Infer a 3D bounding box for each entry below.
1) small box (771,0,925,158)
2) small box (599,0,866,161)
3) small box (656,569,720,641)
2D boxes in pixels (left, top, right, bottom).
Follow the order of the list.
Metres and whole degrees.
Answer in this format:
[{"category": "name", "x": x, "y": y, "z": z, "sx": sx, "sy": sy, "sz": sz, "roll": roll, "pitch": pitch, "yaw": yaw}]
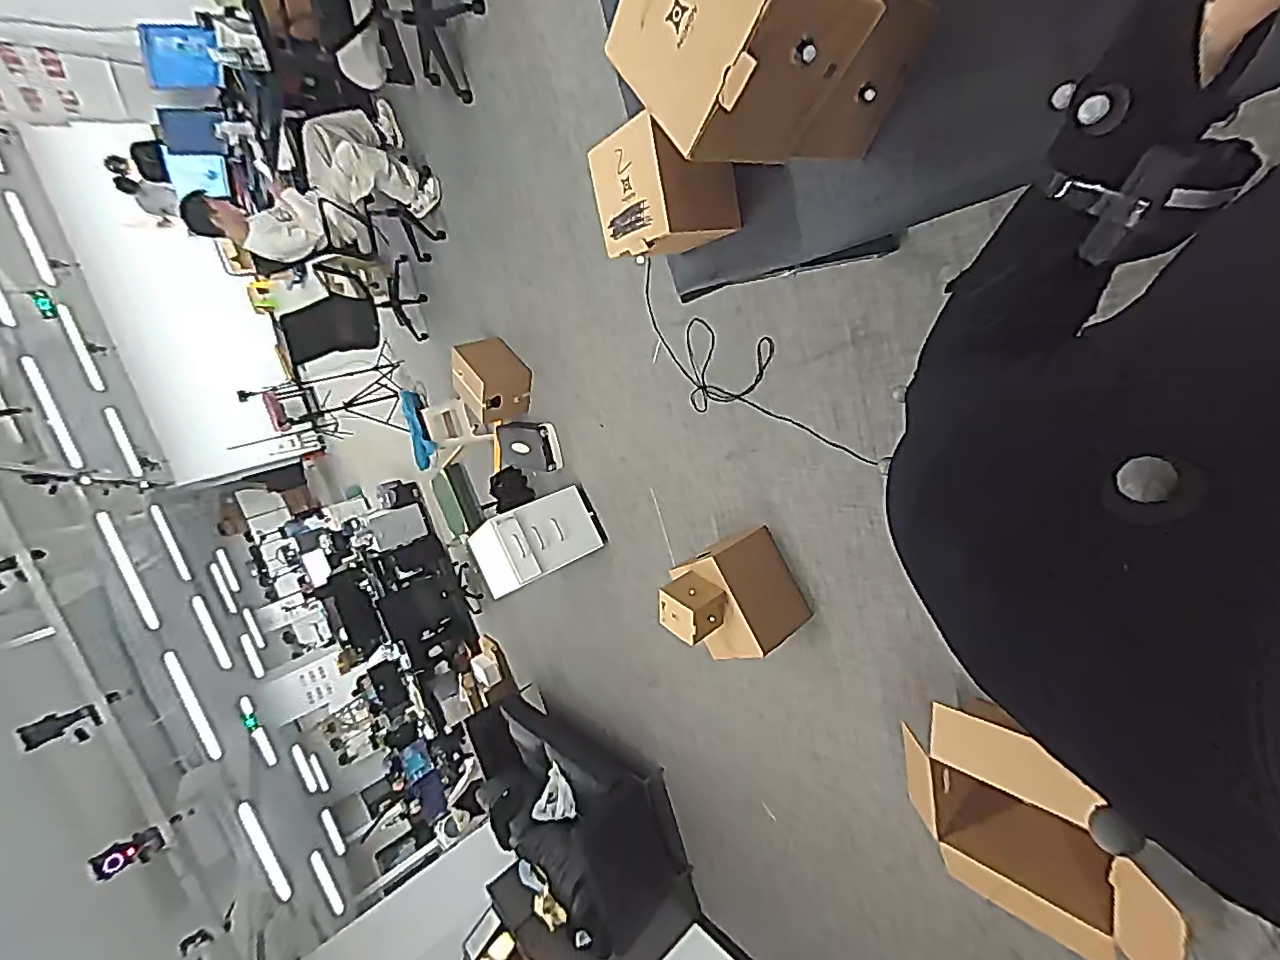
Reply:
[{"category": "small box", "x": 0.203, "y": -0.523, "z": 0.663, "sx": 0.179, "sy": 0.176, "sz": 0.168, "roll": 50, "pitch": 142, "yaw": 22}, {"category": "small box", "x": 0.092, "y": -0.464, "z": 0.559, "sx": 0.179, "sy": 0.176, "sz": 0.168, "roll": 58, "pitch": 143, "yaw": 13}, {"category": "small box", "x": 0.180, "y": 0.457, "z": 2.015, "sx": 0.179, "sy": 0.176, "sz": 0.168, "roll": 26, "pitch": 128, "yaw": 41}]
